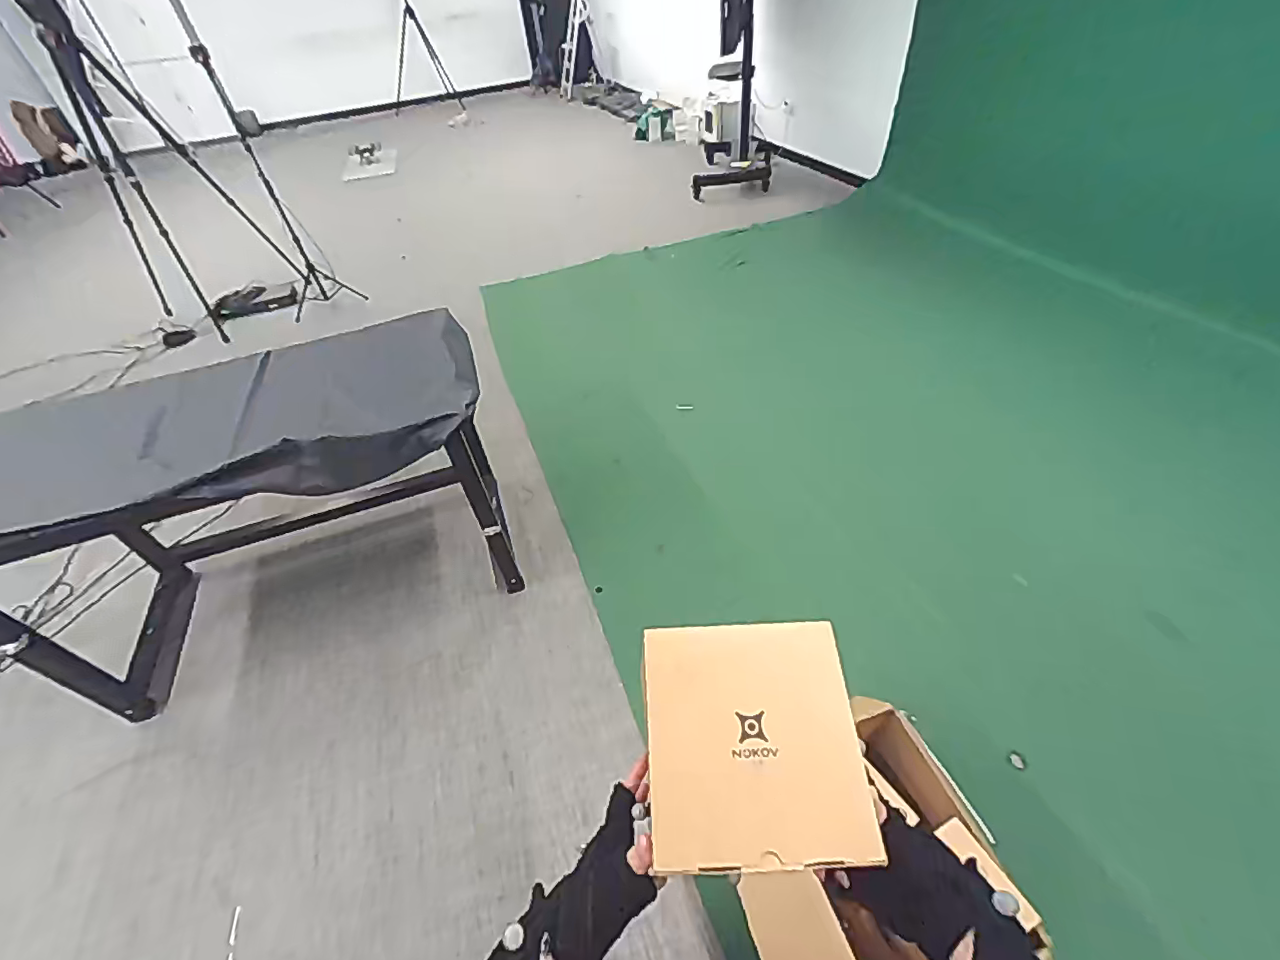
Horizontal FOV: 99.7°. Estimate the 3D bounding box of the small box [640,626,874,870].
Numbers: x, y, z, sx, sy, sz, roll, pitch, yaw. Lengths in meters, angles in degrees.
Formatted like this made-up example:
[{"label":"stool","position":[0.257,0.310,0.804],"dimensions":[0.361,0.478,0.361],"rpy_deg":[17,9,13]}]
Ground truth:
[{"label":"small box","position":[0.085,0.248,0.499],"dimensions":[0.168,0.176,0.179],"rpy_deg":[-2,57,-1]}]
